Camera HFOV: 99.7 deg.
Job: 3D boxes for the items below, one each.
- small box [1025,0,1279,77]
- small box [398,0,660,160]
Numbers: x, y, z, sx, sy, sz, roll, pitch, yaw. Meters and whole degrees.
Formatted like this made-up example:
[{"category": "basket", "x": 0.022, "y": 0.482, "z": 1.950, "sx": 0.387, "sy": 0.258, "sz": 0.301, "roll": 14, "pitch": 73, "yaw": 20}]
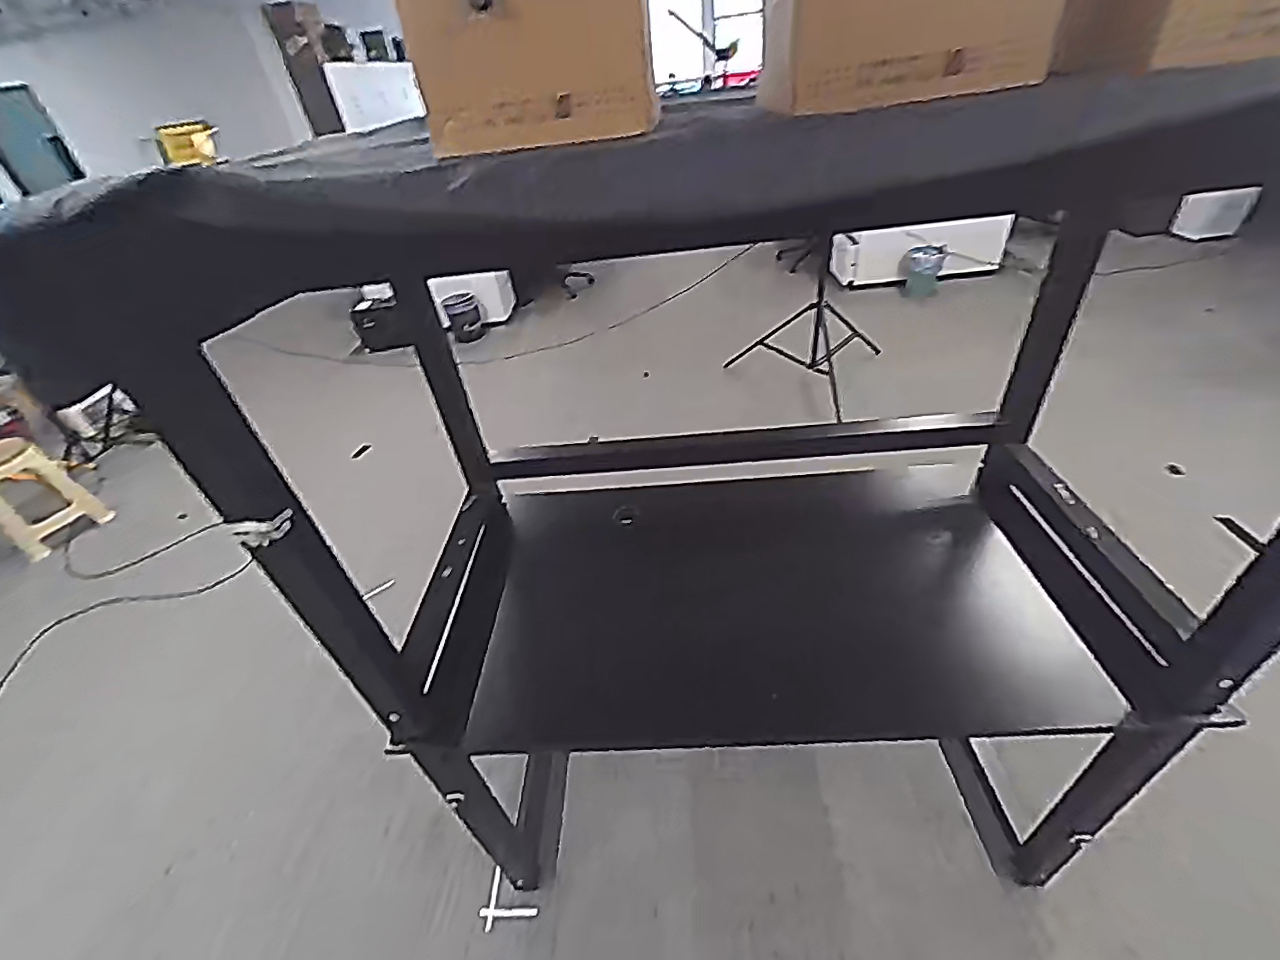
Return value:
[{"category": "small box", "x": 0.403, "y": -0.382, "z": 0.362, "sx": 0.168, "sy": 0.176, "sz": 0.179, "roll": -4, "pitch": 37, "yaw": 7}, {"category": "small box", "x": -0.074, "y": -0.359, "z": 0.422, "sx": 0.168, "sy": 0.176, "sz": 0.179, "roll": -2, "pitch": 36, "yaw": 7}]
